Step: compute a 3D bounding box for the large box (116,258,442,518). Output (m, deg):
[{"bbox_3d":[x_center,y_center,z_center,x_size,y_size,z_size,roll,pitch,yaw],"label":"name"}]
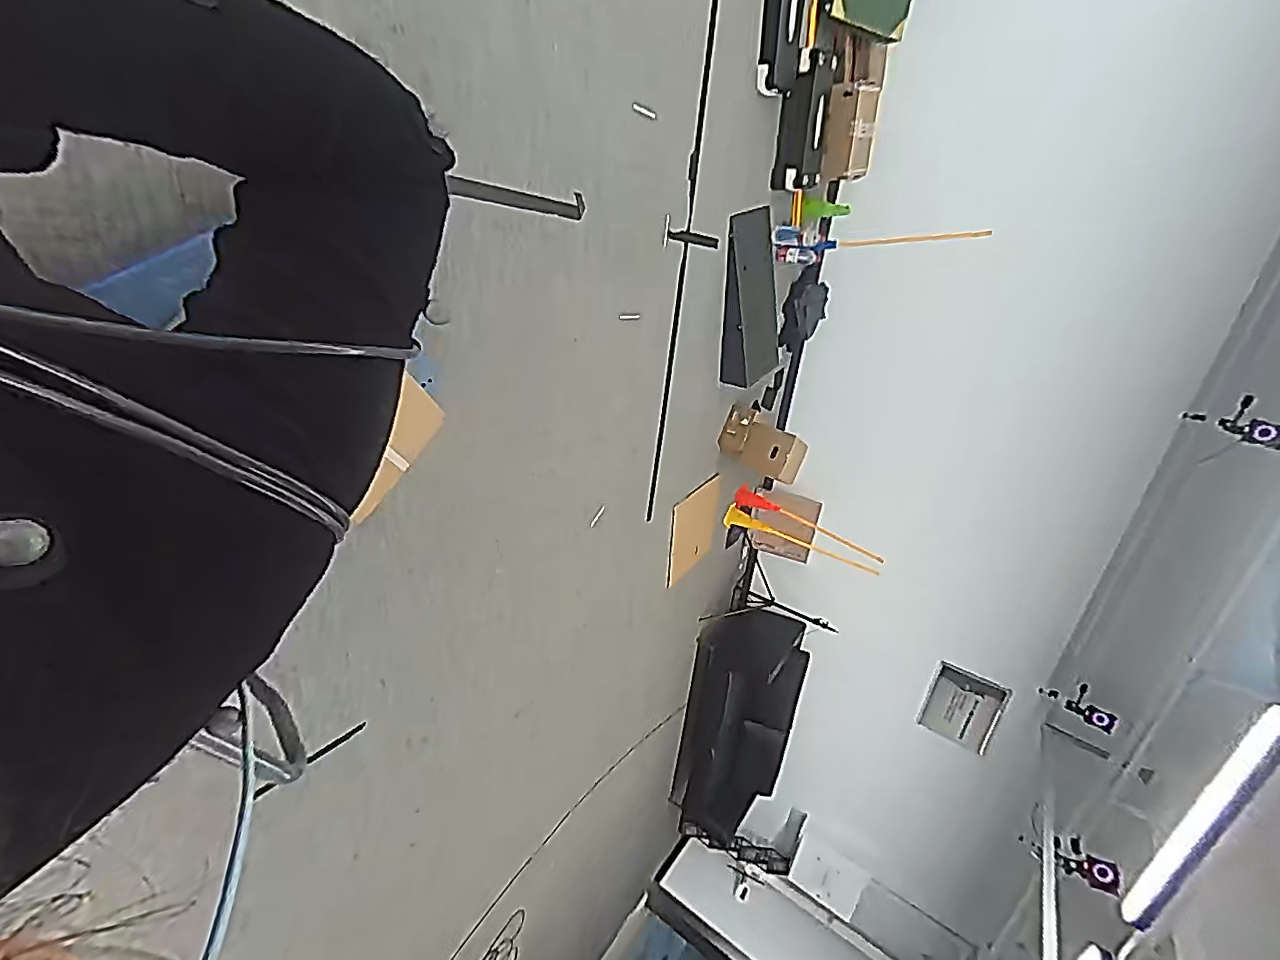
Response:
[{"bbox_3d":[-0.714,-0.184,1.124,0.320,0.320,0.408,-56,149,-20],"label":"large box"}]
